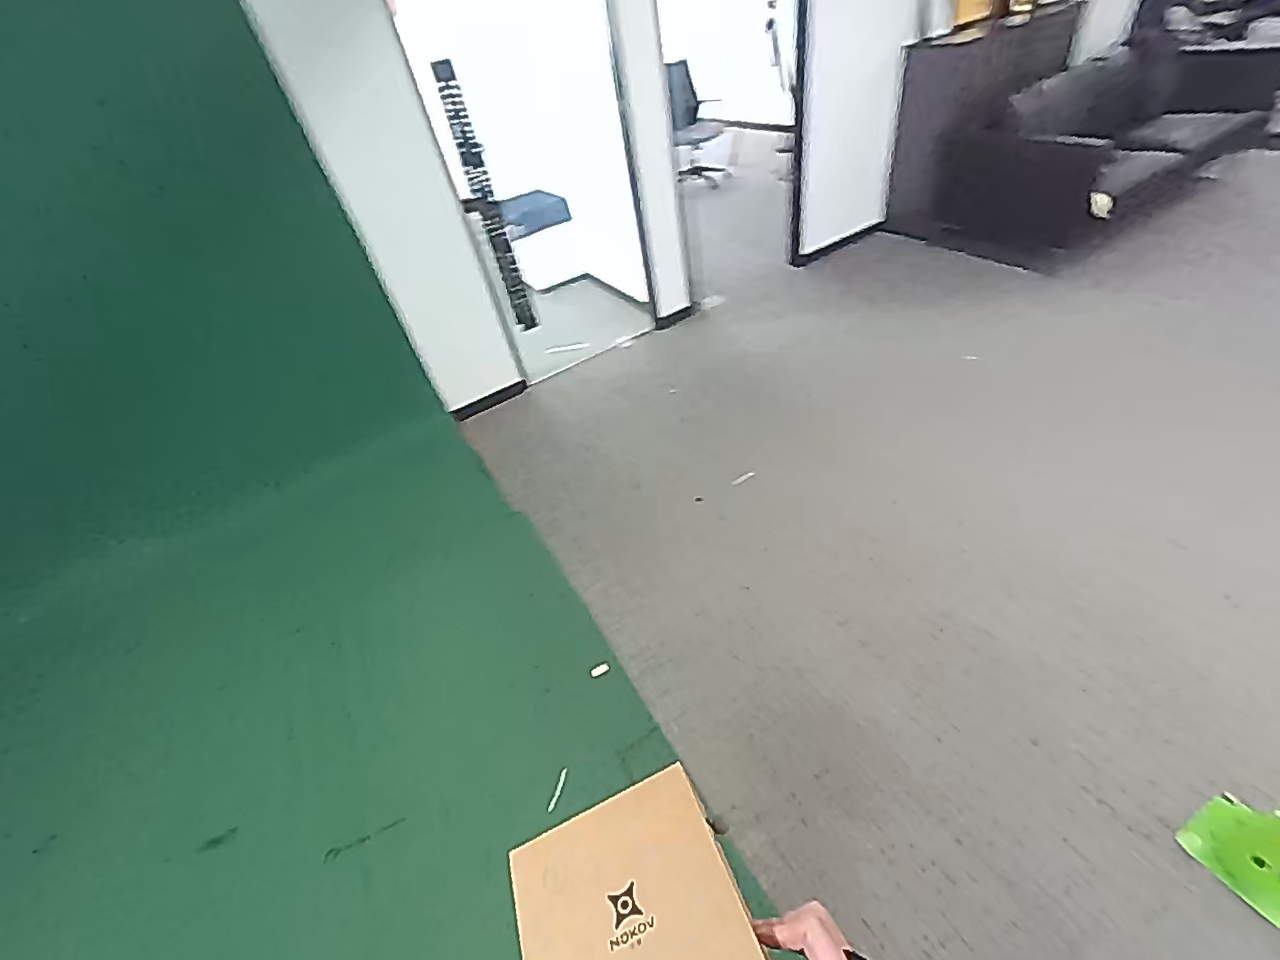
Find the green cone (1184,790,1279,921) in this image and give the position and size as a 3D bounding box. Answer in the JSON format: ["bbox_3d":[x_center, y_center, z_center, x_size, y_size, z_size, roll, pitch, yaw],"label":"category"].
[{"bbox_3d":[1.337,0.703,1.079,0.200,0.368,0.202,-28,45,-16],"label":"green cone"}]
